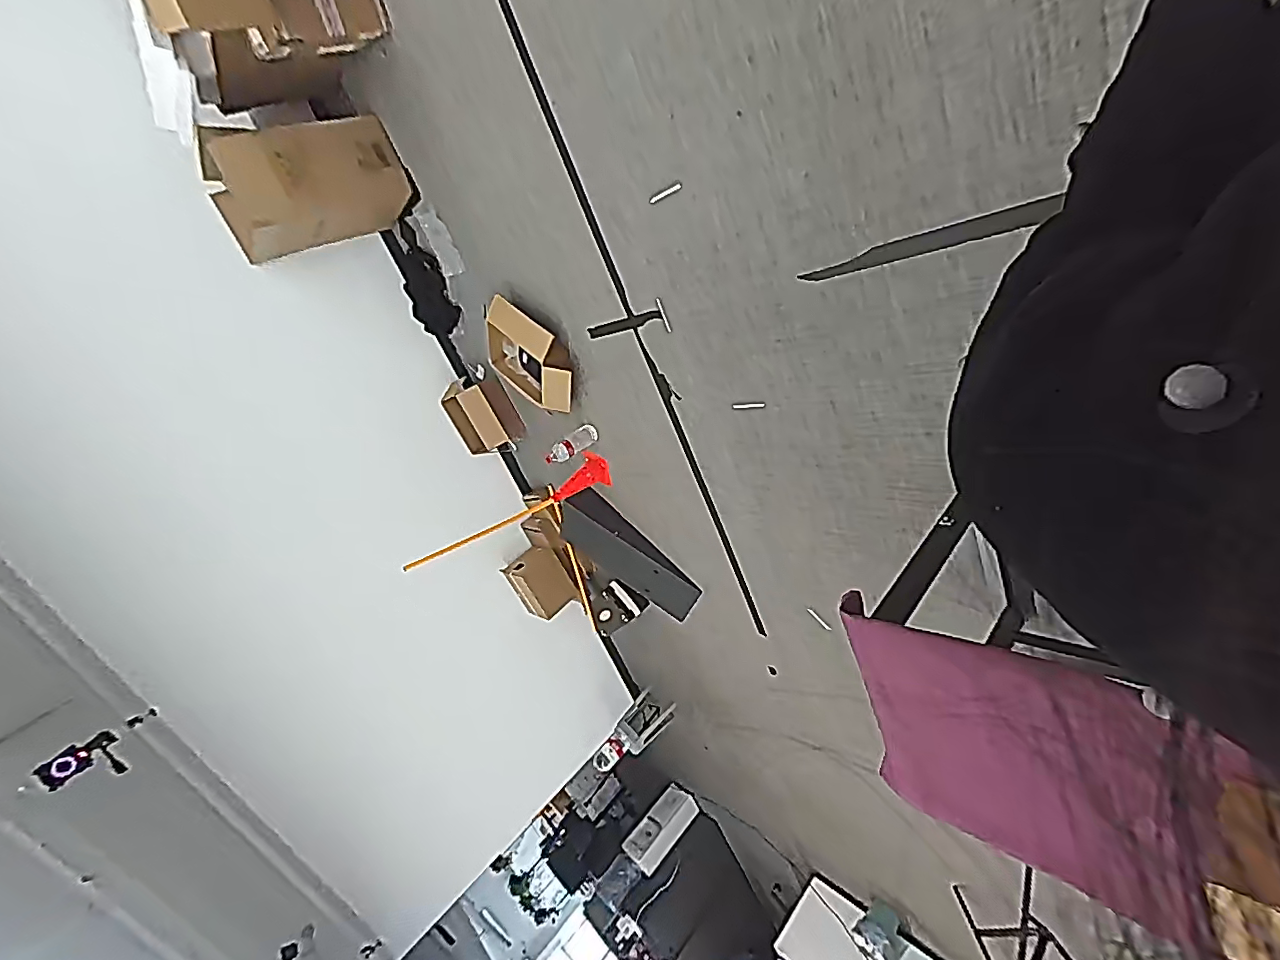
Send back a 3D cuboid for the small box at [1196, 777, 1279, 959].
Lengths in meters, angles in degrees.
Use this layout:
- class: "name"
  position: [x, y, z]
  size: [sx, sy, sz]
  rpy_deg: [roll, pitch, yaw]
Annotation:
- class: "small box"
  position: [0.875, 0.549, 0.720]
  size: [0.168, 0.176, 0.179]
  rpy_deg: [7, 128, 49]
